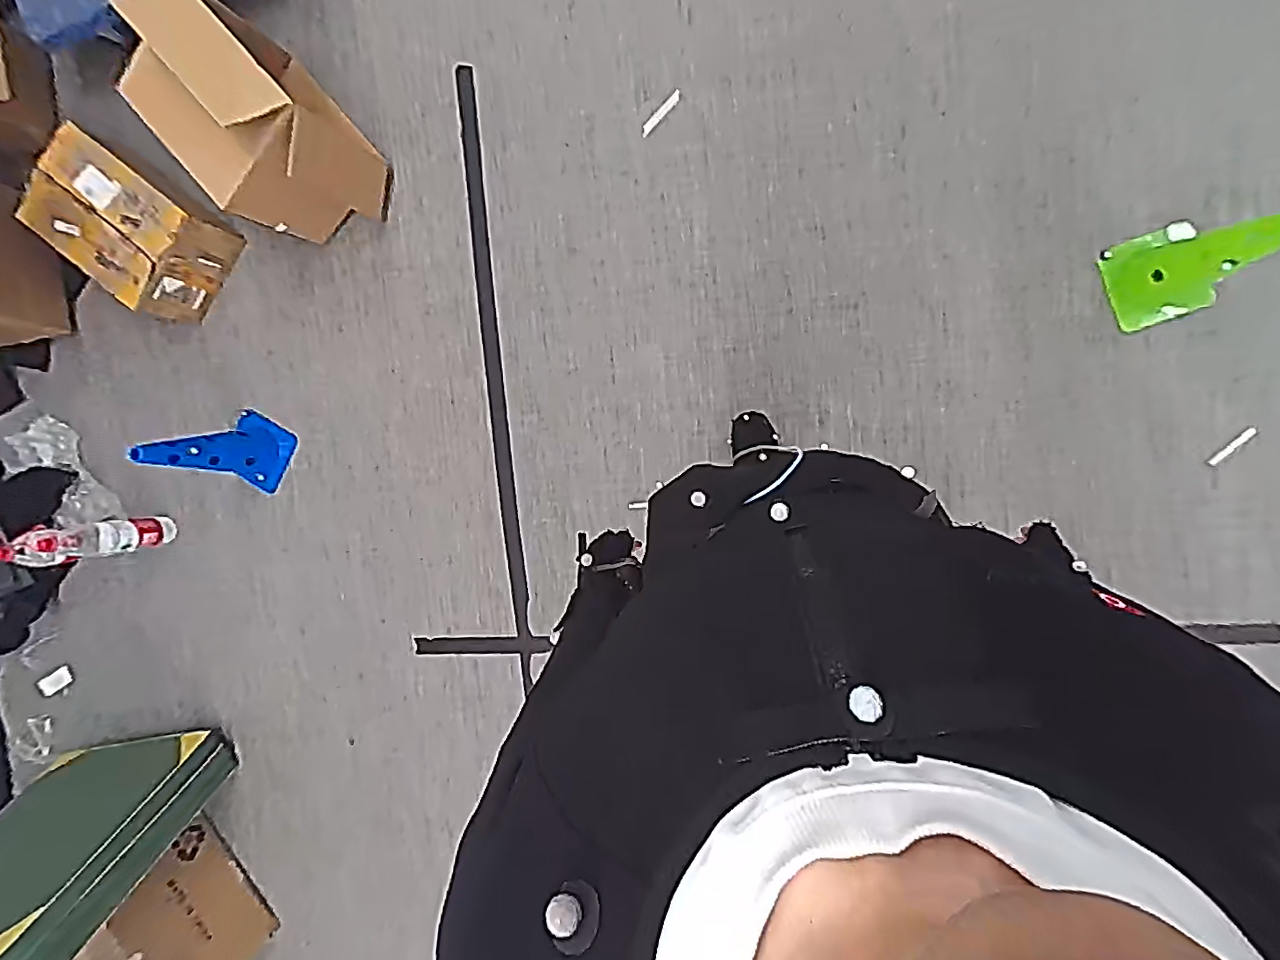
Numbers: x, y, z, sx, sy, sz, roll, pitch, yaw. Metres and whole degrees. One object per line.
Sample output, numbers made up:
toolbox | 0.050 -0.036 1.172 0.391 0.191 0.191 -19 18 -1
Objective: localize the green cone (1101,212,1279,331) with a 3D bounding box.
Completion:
green cone | 1.166 -0.452 1.071 0.202 0.368 0.200 -20 91 8
